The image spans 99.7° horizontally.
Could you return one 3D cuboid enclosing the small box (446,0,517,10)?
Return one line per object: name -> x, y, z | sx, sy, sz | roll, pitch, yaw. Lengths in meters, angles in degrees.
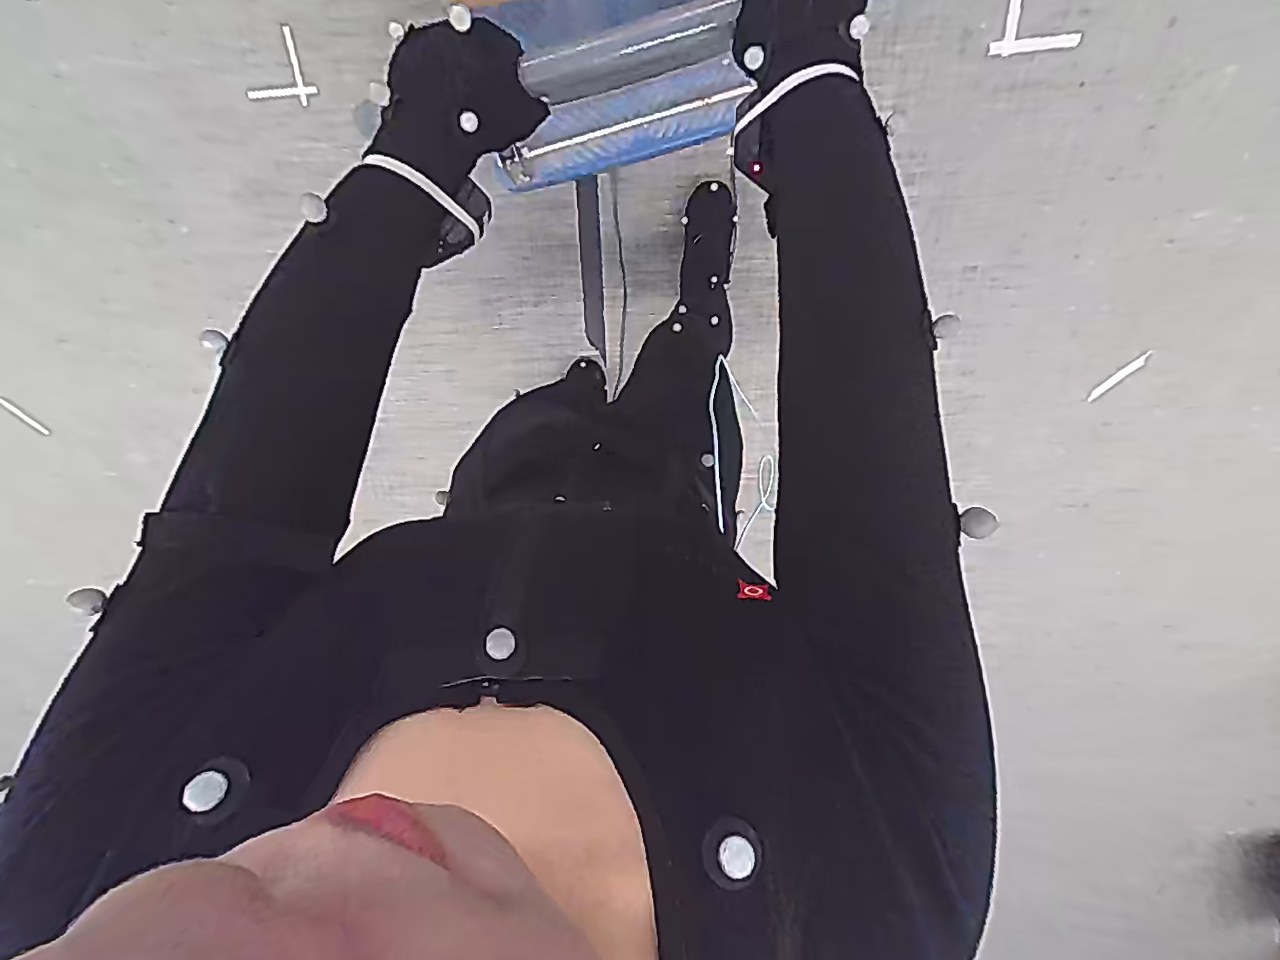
small box -> -0.258, -0.868, 0.835 | 0.179, 0.176, 0.168 | -7, 115, 4
